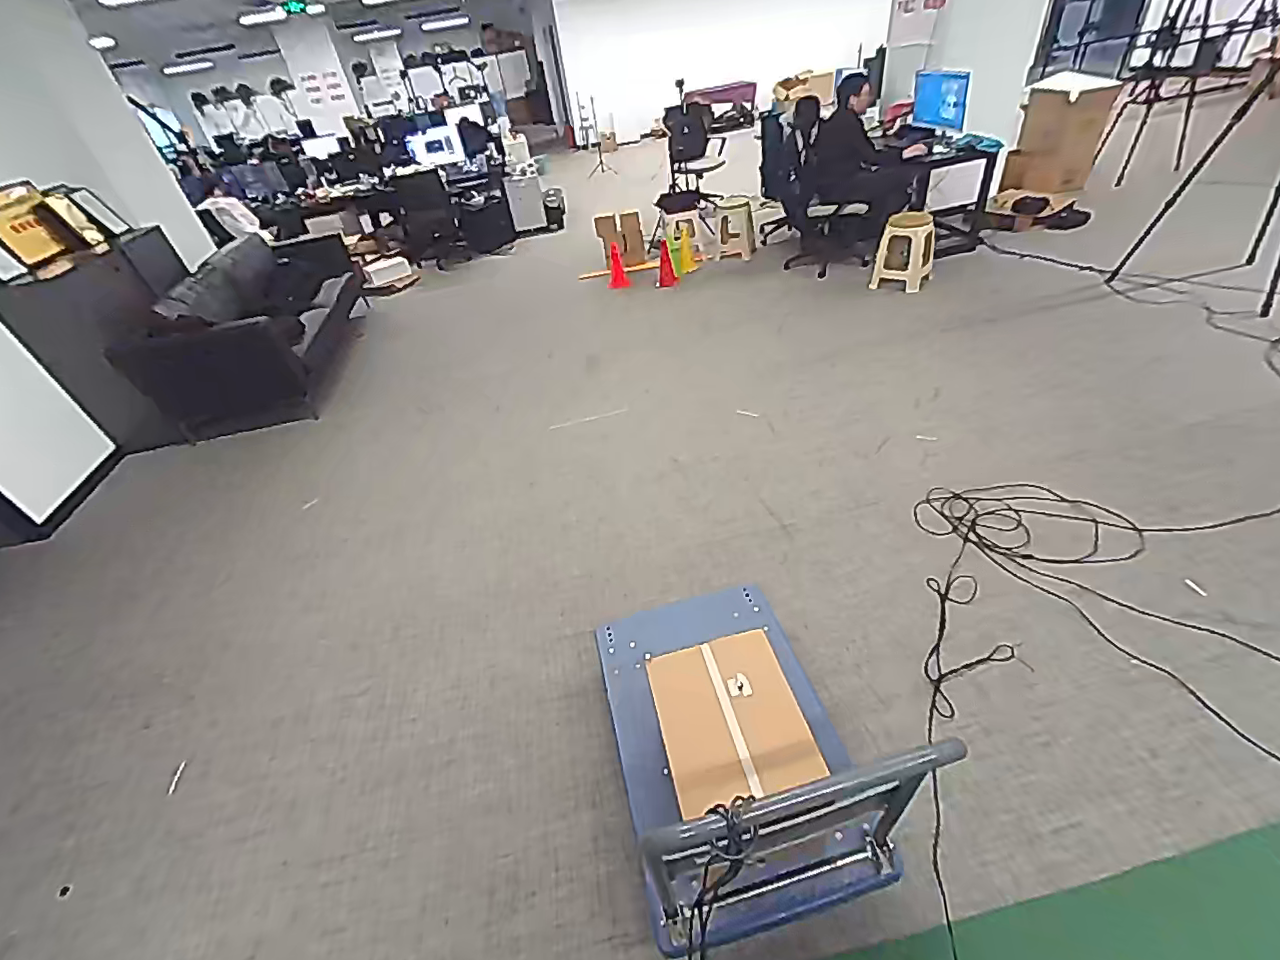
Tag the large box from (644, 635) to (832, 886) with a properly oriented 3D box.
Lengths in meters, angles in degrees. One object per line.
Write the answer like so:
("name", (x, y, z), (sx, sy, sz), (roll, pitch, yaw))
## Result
("large box", (0.220, 0.661, 1.305), (0.320, 0.320, 0.408), (-13, 38, -5))
